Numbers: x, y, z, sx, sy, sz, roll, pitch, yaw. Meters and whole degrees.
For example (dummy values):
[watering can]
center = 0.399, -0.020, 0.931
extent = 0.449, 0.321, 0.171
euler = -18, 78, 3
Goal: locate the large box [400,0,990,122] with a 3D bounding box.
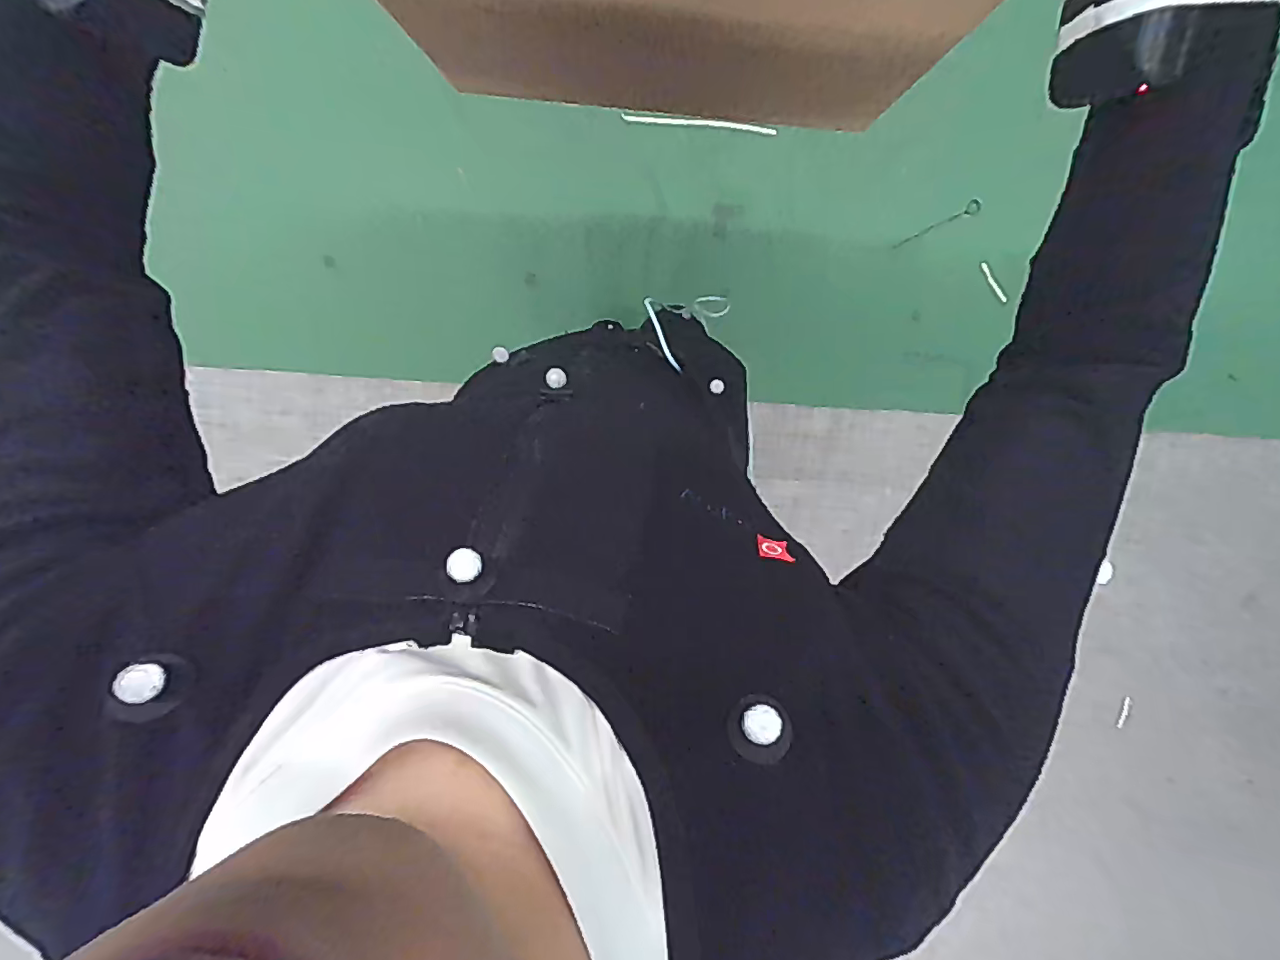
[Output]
[large box]
center = 0.034, -0.469, 0.347
extent = 0.408, 0.320, 0.320
euler = 5, 107, -1
